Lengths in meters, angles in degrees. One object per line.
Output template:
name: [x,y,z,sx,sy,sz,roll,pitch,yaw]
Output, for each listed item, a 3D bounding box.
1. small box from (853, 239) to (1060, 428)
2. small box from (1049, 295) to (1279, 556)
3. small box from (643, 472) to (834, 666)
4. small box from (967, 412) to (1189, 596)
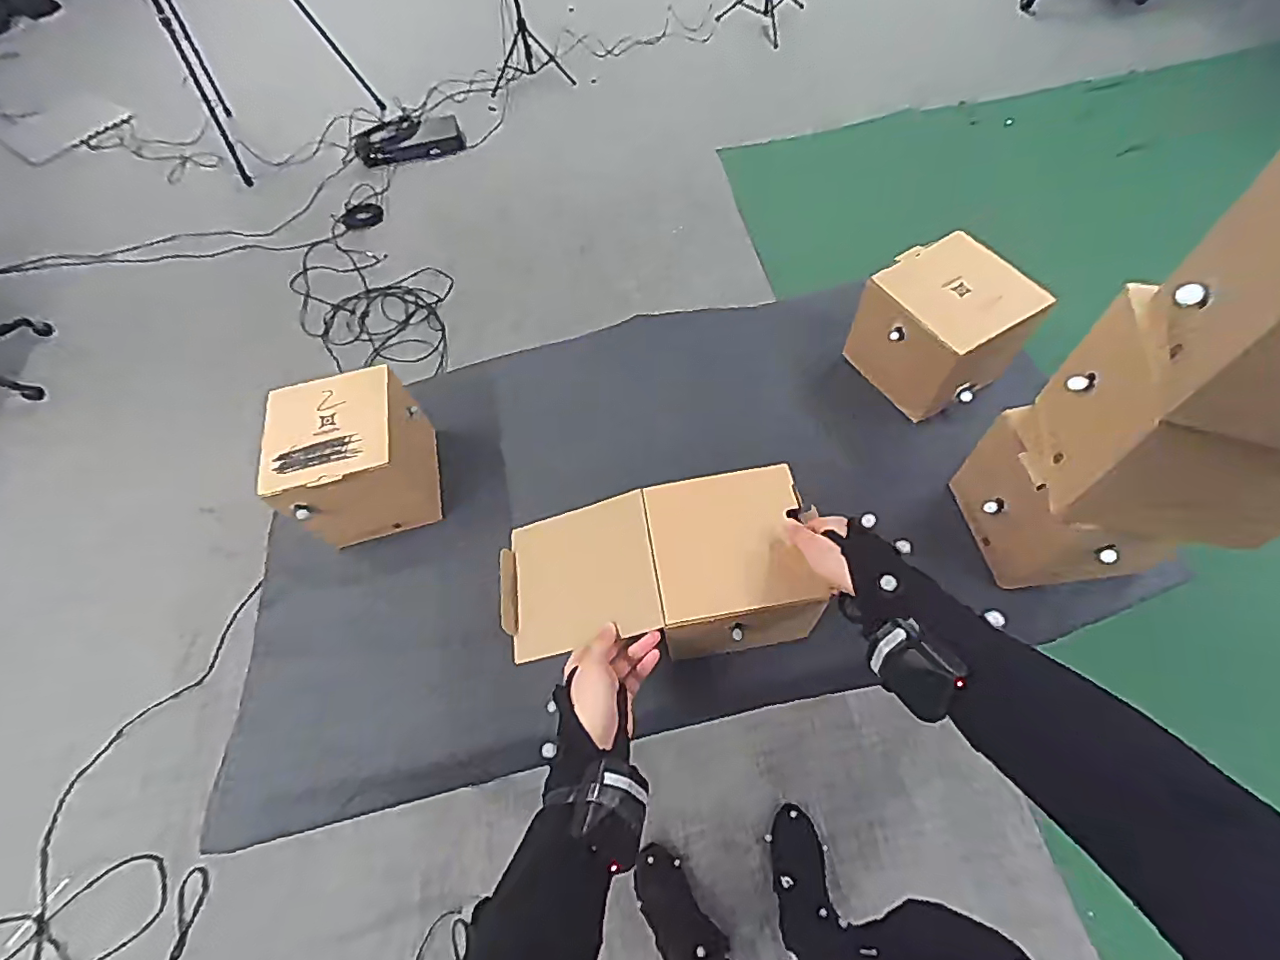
small box: [0.448,-0.211,0.803,0.168,0.176,0.179,-30,63,-8]
small box: [0.522,-0.046,0.508,0.179,0.176,0.168,11,59,12]
small box: [0.108,0.114,0.648,0.179,0.176,0.168,-10,60,1]
small box: [0.531,0.029,0.654,0.179,0.176,0.168,-8,56,2]
